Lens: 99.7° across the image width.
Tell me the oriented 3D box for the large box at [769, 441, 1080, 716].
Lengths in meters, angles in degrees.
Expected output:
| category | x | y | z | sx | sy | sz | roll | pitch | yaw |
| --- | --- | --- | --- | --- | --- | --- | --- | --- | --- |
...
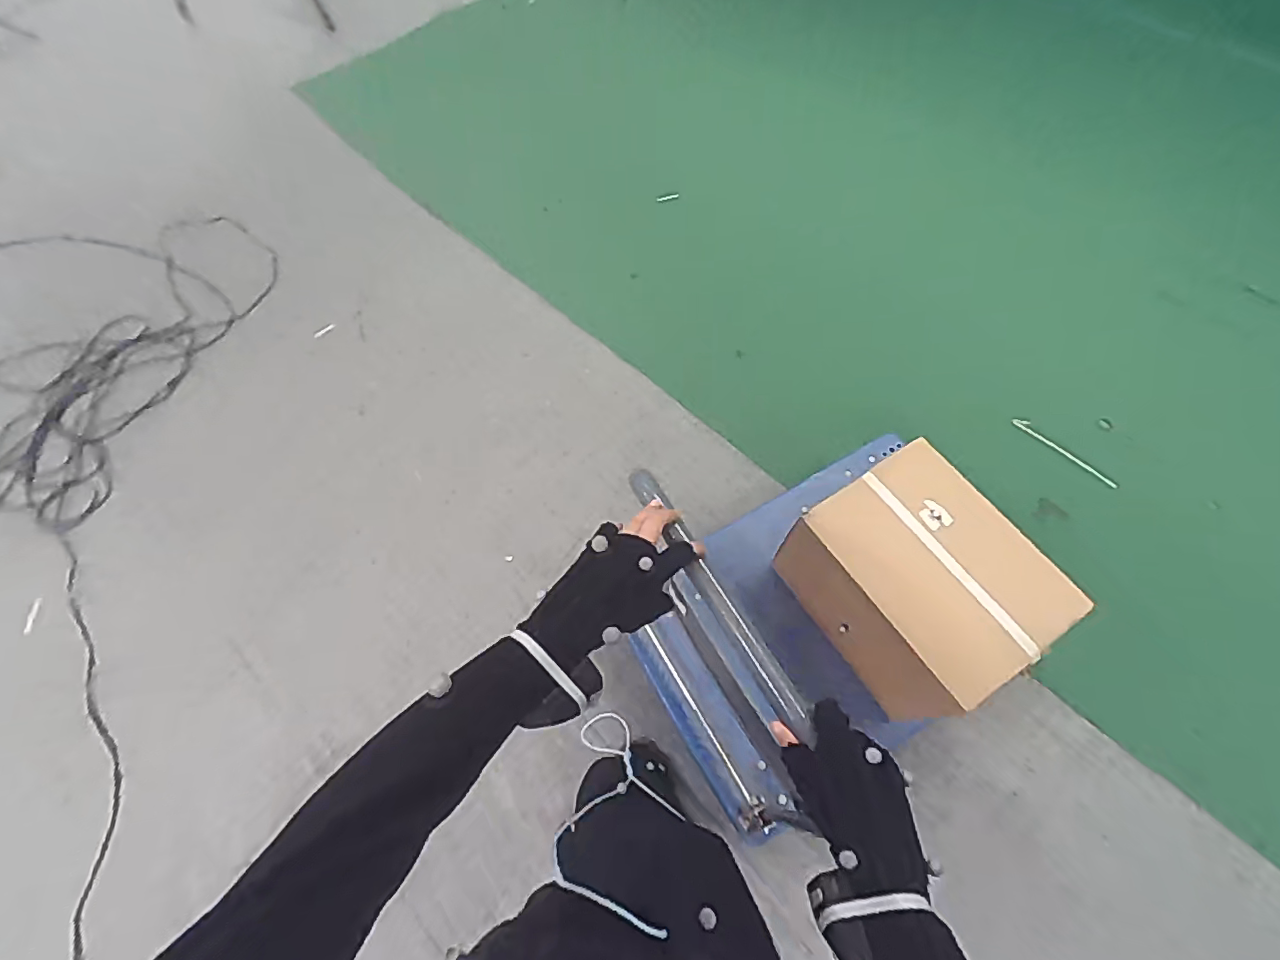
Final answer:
| category | x | y | z | sx | sy | sz | roll | pitch | yaw |
| --- | --- | --- | --- | --- | --- | --- | --- | --- | --- |
| large box | 0.525 | 0.207 | 1.096 | 0.320 | 0.320 | 0.408 | -30 | 66 | -12 |
